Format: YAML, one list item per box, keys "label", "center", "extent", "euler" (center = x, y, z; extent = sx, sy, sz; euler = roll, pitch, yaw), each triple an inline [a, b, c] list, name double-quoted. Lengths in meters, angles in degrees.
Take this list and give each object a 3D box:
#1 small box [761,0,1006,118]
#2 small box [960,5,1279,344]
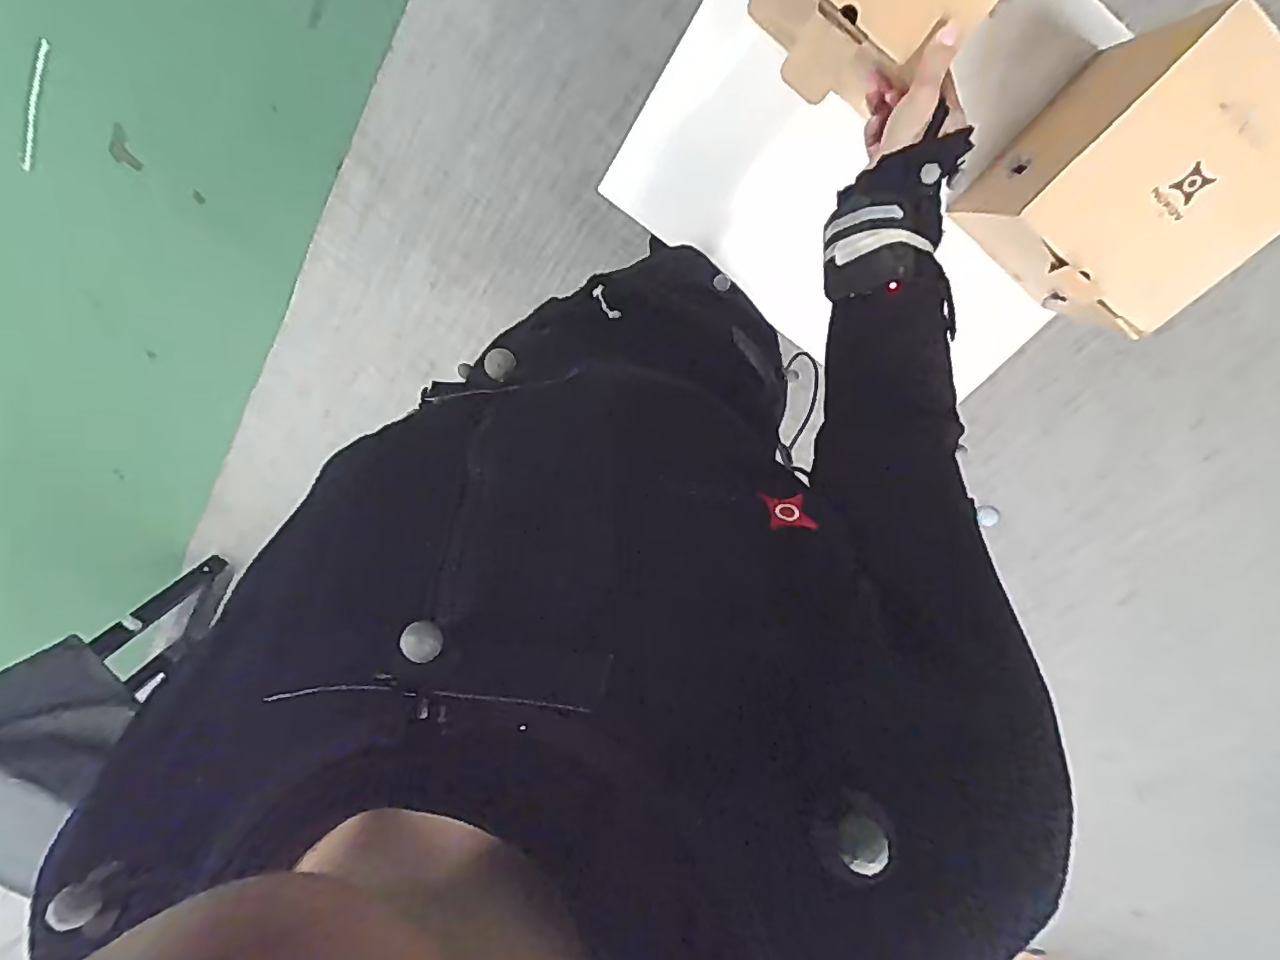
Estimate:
- label: "small box"
  center: [0.211, -0.433, 0.433]
  extent: [0.168, 0.176, 0.179]
  euler: [34, 118, -9]
- label: "small box"
  center: [0.430, -0.258, 0.492]
  extent: [0.168, 0.176, 0.179]
  euler: [36, 116, -11]
